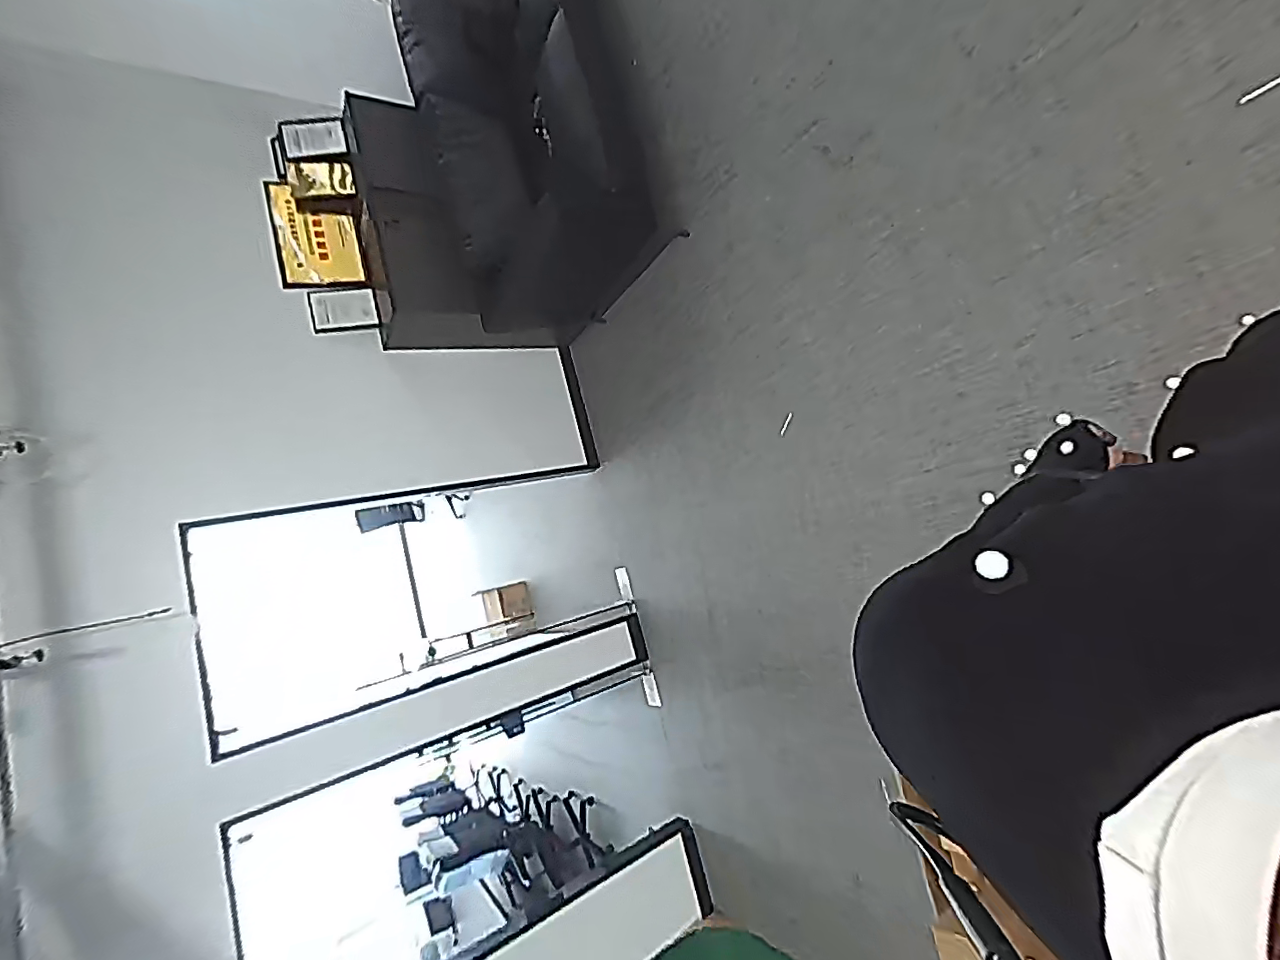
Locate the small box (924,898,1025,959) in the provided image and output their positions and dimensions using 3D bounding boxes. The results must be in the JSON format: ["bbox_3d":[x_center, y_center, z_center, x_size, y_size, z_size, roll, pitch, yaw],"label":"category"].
[{"bbox_3d":[0.893,1.262,1.429,0.168,0.176,0.179,-23,77,56],"label":"small box"}]

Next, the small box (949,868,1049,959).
[{"bbox_3d":[1.022,1.249,1.531,0.179,0.176,0.168,-23,78,56],"label":"small box"}]
